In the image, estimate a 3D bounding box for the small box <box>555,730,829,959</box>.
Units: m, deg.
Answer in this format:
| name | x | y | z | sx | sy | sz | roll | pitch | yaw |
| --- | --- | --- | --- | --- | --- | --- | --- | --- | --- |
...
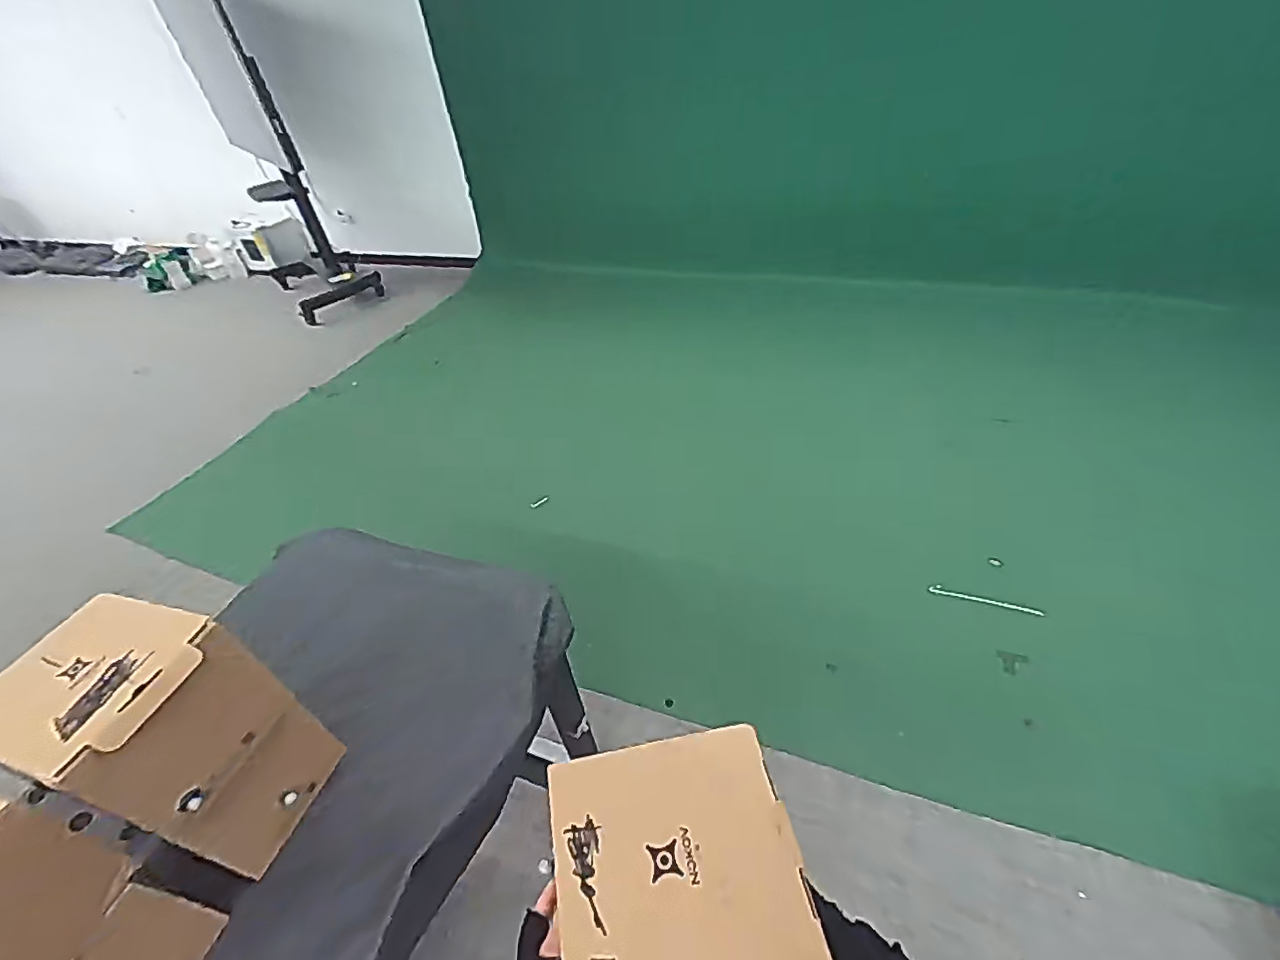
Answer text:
| name | x | y | z | sx | sy | sz | roll | pitch | yaw |
| --- | --- | --- | --- | --- | --- | --- | --- | --- | --- |
| small box | 0.026 | 0.335 | 0.450 | 0.179 | 0.176 | 0.168 | -6 | 44 | -8 |
